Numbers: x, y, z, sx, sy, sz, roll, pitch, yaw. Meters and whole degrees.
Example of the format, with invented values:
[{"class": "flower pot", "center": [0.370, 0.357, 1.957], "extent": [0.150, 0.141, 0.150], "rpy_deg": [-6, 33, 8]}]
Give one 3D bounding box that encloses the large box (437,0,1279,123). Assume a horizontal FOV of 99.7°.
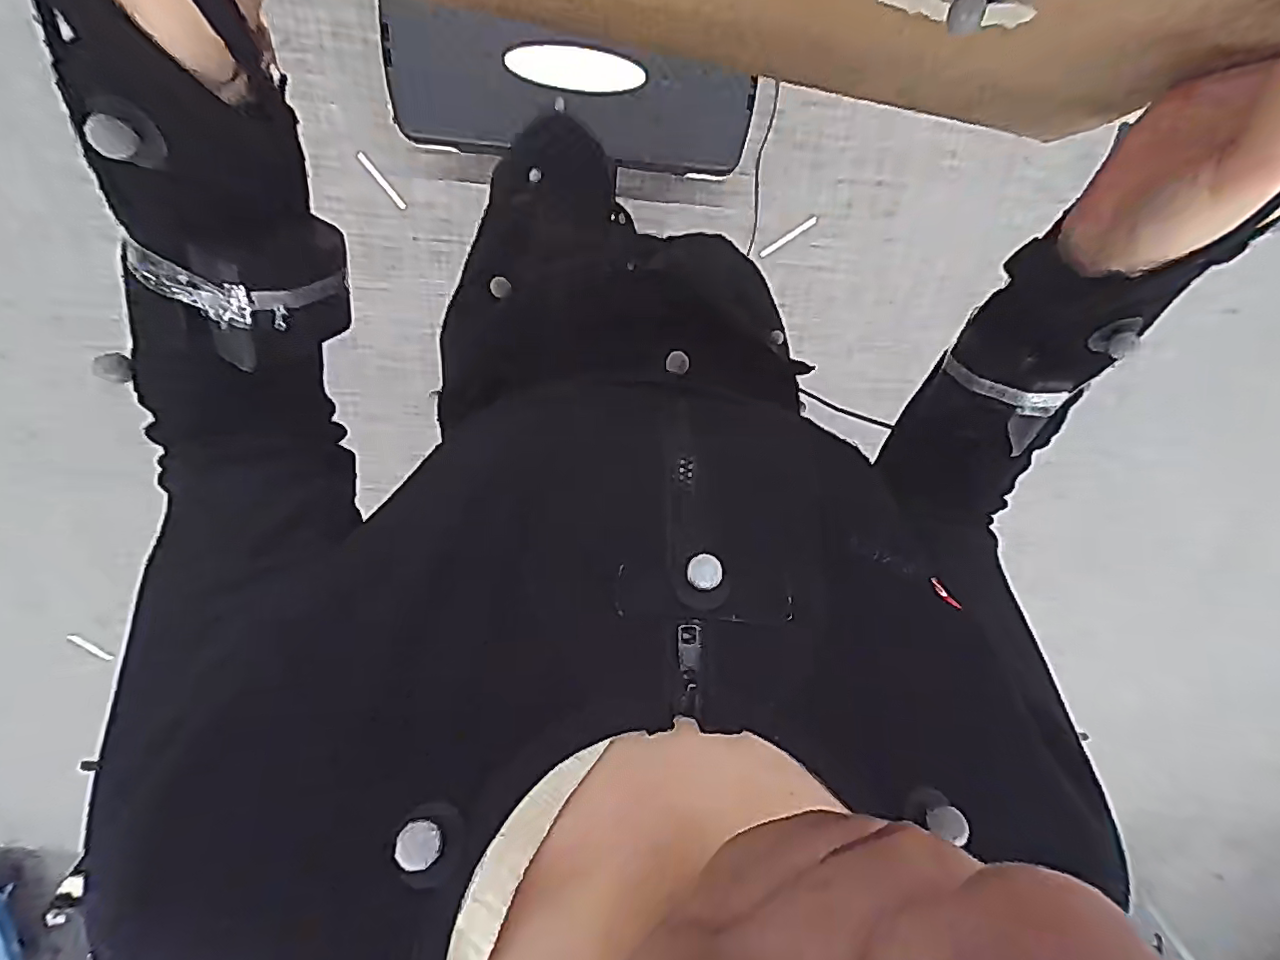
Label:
[{"class": "large box", "center": [0.078, -0.331, 0.108], "extent": [0.408, 0.320, 0.320], "rpy_deg": [5, 106, -9]}]
